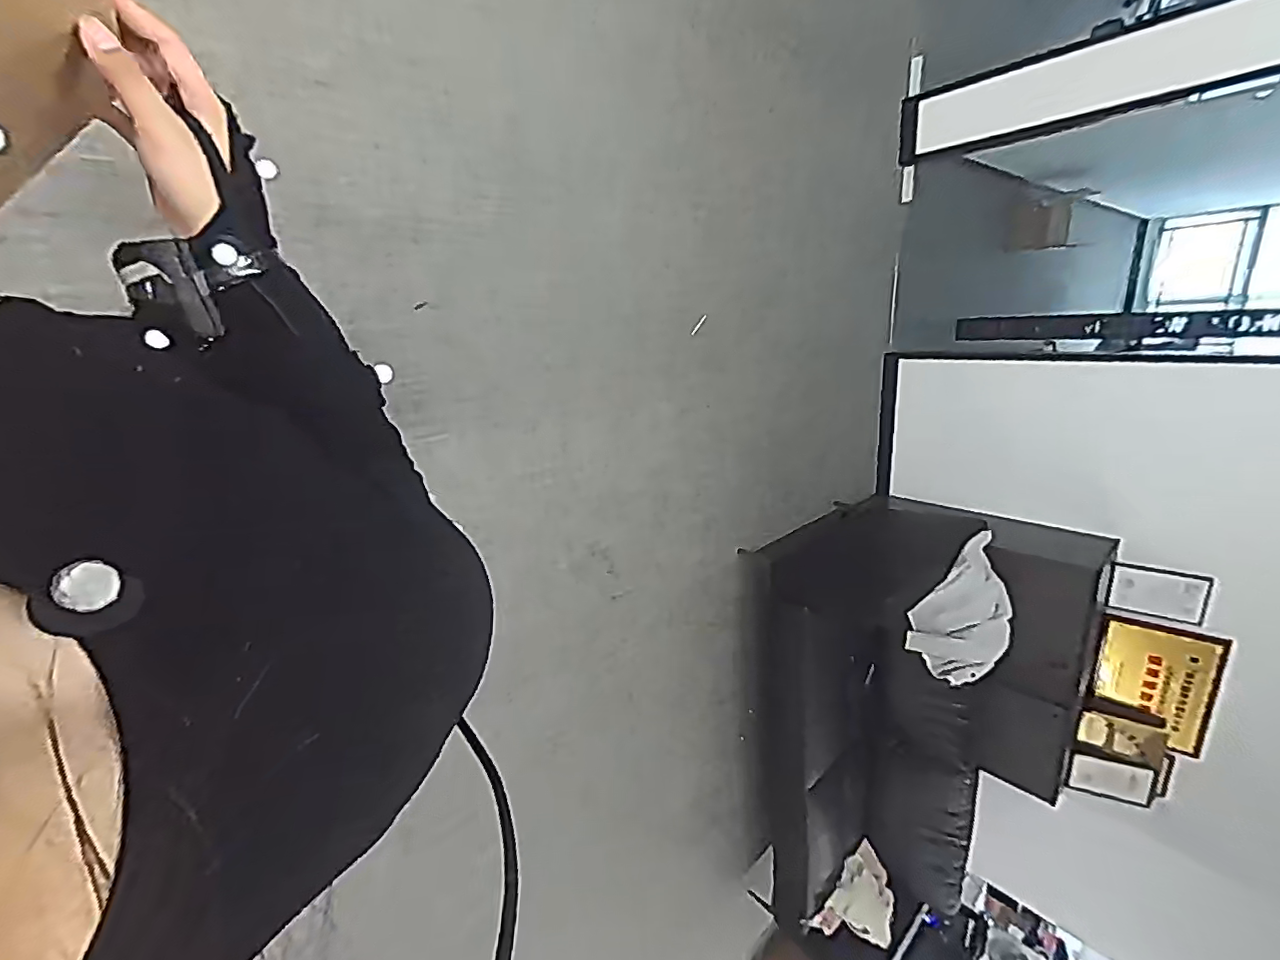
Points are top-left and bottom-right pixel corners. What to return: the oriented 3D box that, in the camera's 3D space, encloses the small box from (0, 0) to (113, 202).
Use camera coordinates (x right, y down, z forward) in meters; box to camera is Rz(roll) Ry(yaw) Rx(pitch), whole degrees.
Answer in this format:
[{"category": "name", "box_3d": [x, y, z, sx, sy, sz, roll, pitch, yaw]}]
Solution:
[{"category": "small box", "box_3d": [-0.378, -0.228, 0.230, 0.168, 0.176, 0.179, 38, 70, -35]}]
